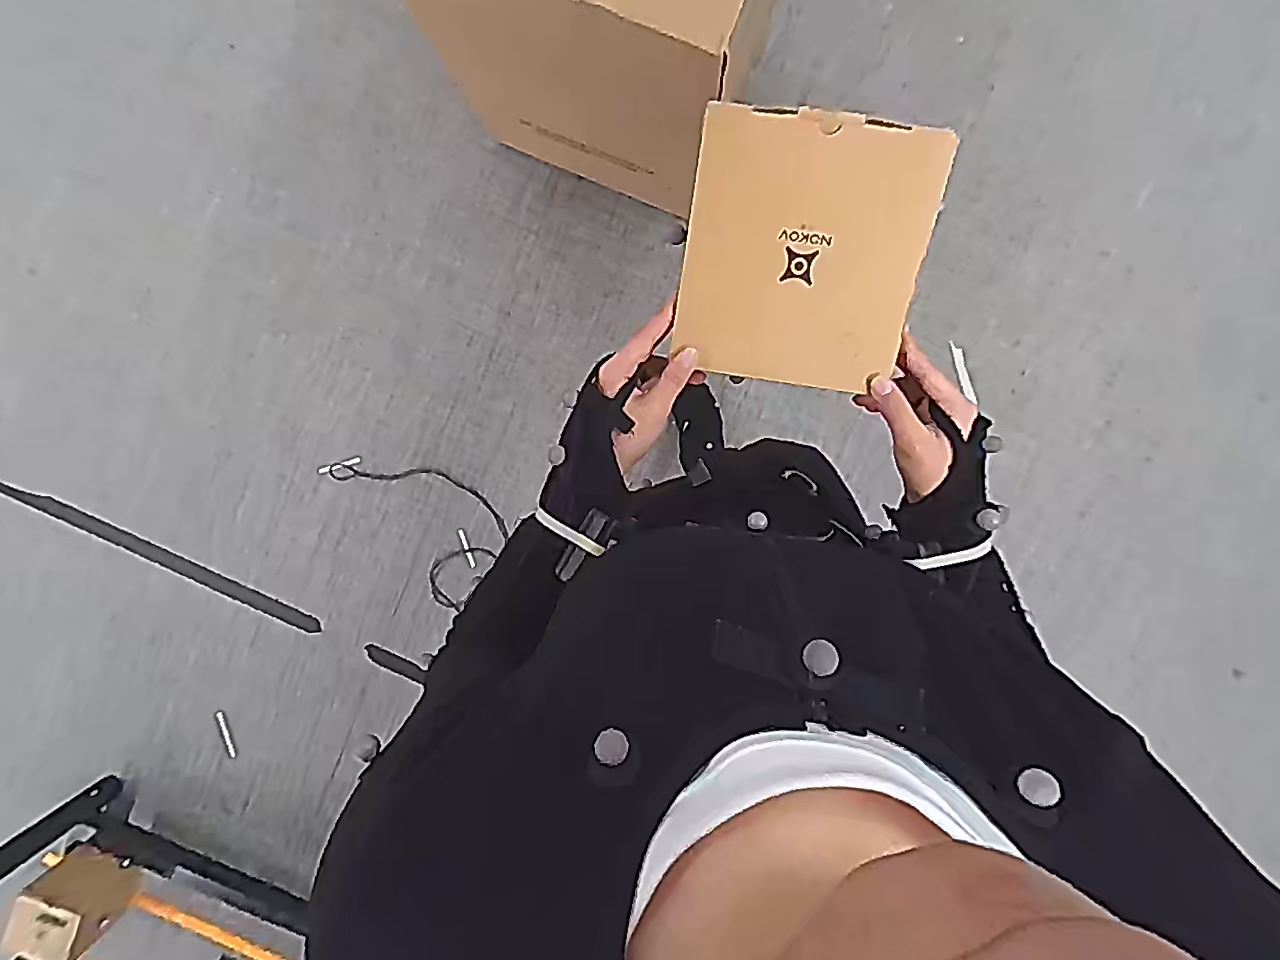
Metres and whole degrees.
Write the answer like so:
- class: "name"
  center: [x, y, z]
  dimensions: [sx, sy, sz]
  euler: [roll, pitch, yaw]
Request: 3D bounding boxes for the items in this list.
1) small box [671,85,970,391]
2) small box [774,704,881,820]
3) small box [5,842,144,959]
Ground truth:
- class: "small box"
  center: [0.123, -0.183, 0.441]
  dimensions: [0.168, 0.176, 0.179]
  euler: [9, 109, 4]
- class: "small box"
  center: [0.458, 0.692, 1.350]
  dimensions: [0.179, 0.176, 0.168]
  euler: [22, 97, 0]
- class: "small box"
  center: [-1.442, 1.086, 1.391]
  dimensions: [0.168, 0.176, 0.179]
  euler: [24, 99, -1]
